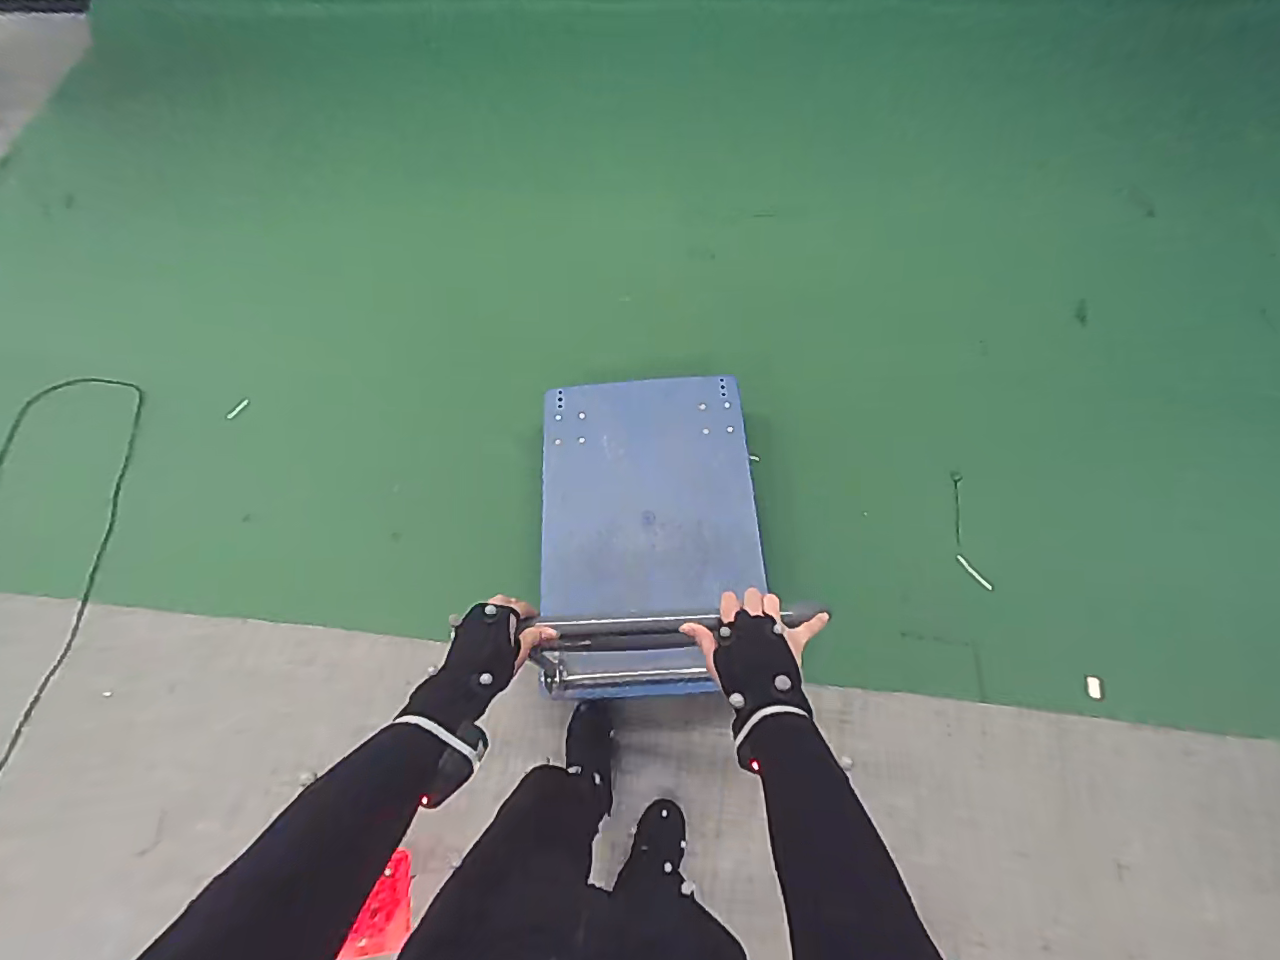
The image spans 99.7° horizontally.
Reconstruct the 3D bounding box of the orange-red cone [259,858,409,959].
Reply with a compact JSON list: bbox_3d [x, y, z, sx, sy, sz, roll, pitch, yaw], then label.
[{"bbox_3d":[-0.656,0.938,1.106,0.199,0.360,0.198,-9,65,1],"label":"orange-red cone"}]
